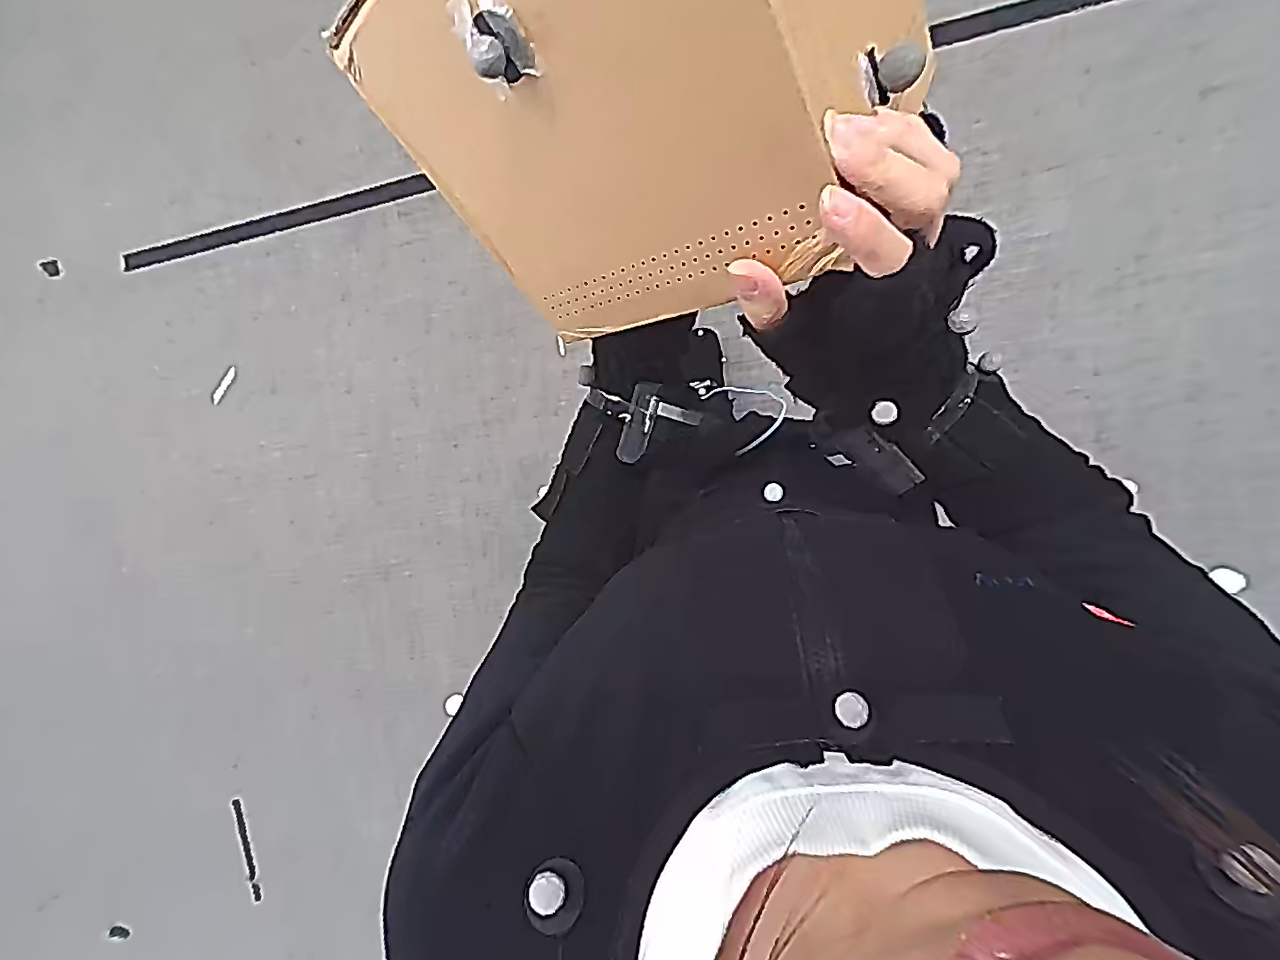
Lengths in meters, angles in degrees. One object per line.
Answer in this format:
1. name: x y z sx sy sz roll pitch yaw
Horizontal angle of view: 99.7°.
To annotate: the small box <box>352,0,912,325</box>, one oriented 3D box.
1. small box: 0.009 -0.199 0.267 0.179 0.168 0.176 1 144 43
